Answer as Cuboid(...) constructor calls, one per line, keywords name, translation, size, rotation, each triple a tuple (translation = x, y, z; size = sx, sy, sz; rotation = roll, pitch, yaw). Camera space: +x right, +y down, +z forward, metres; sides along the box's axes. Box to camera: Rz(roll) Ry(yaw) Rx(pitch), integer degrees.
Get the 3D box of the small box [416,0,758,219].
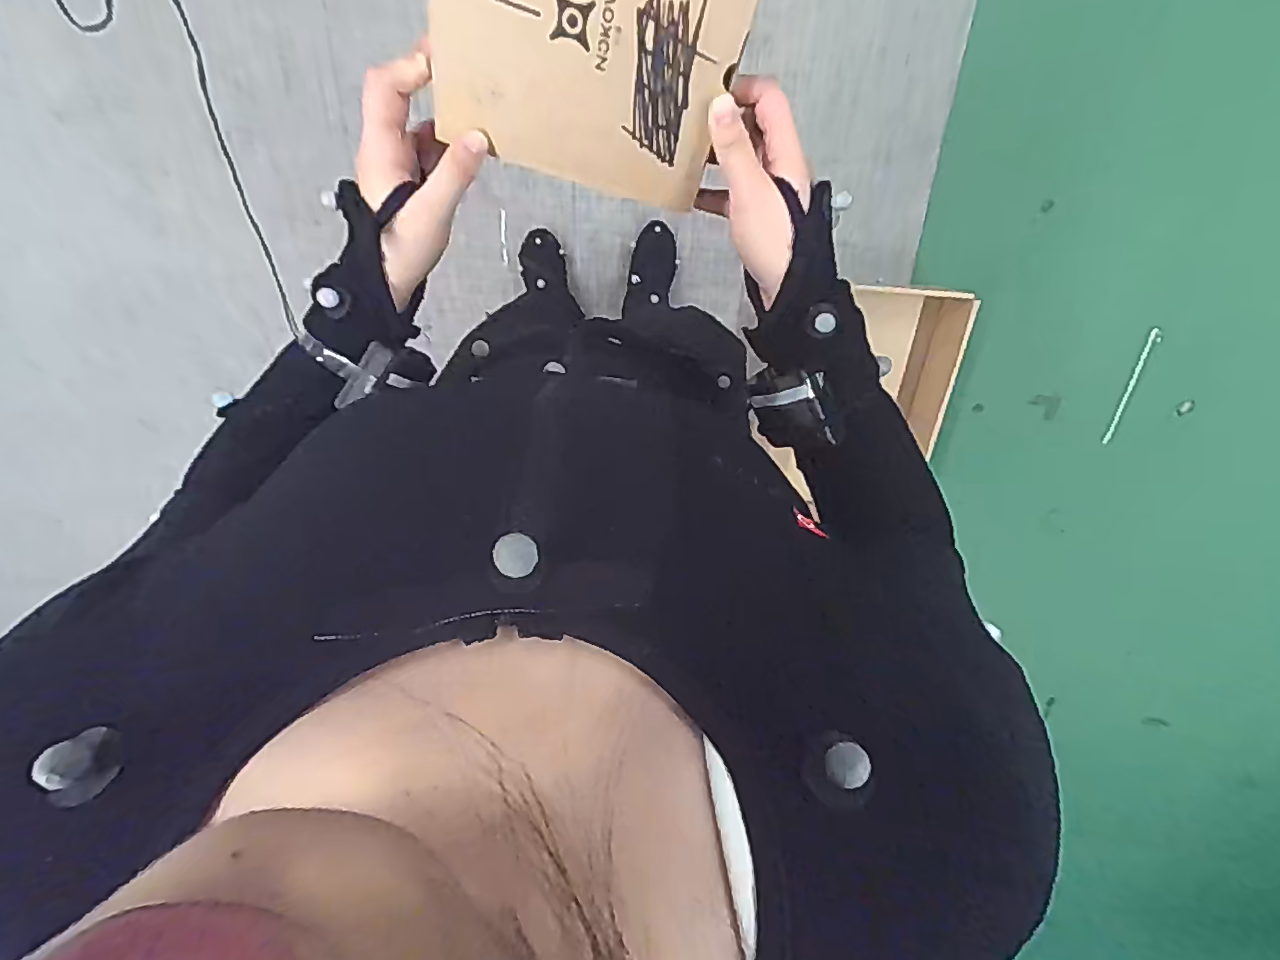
Cuboid(name="small box", translation=(-0.033, -0.305, 0.343), size=(0.179, 0.176, 0.168), rotation=(9, 144, -11))
